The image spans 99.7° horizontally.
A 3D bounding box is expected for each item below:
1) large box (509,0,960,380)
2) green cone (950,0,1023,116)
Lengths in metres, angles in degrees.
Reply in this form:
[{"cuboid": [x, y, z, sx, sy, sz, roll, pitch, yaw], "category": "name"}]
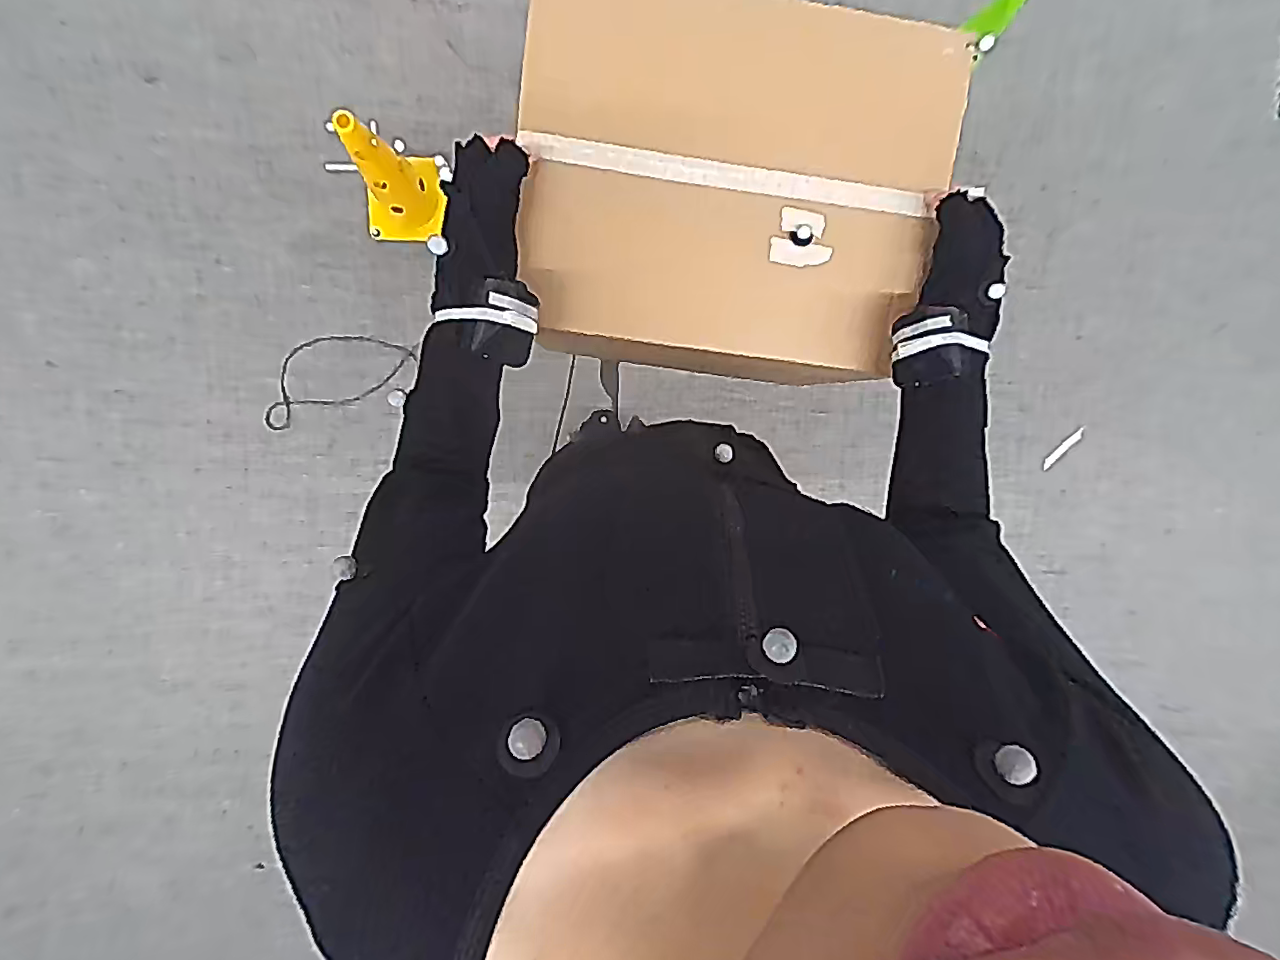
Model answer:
[{"cuboid": [0.076, -0.303, 0.652, 0.408, 0.320, 0.320, 7, 98, -5], "category": "large box"}, {"cuboid": [0.751, -1.000, 1.244, 0.202, 0.368, 0.200, -37, 98, -1], "category": "green cone"}]
